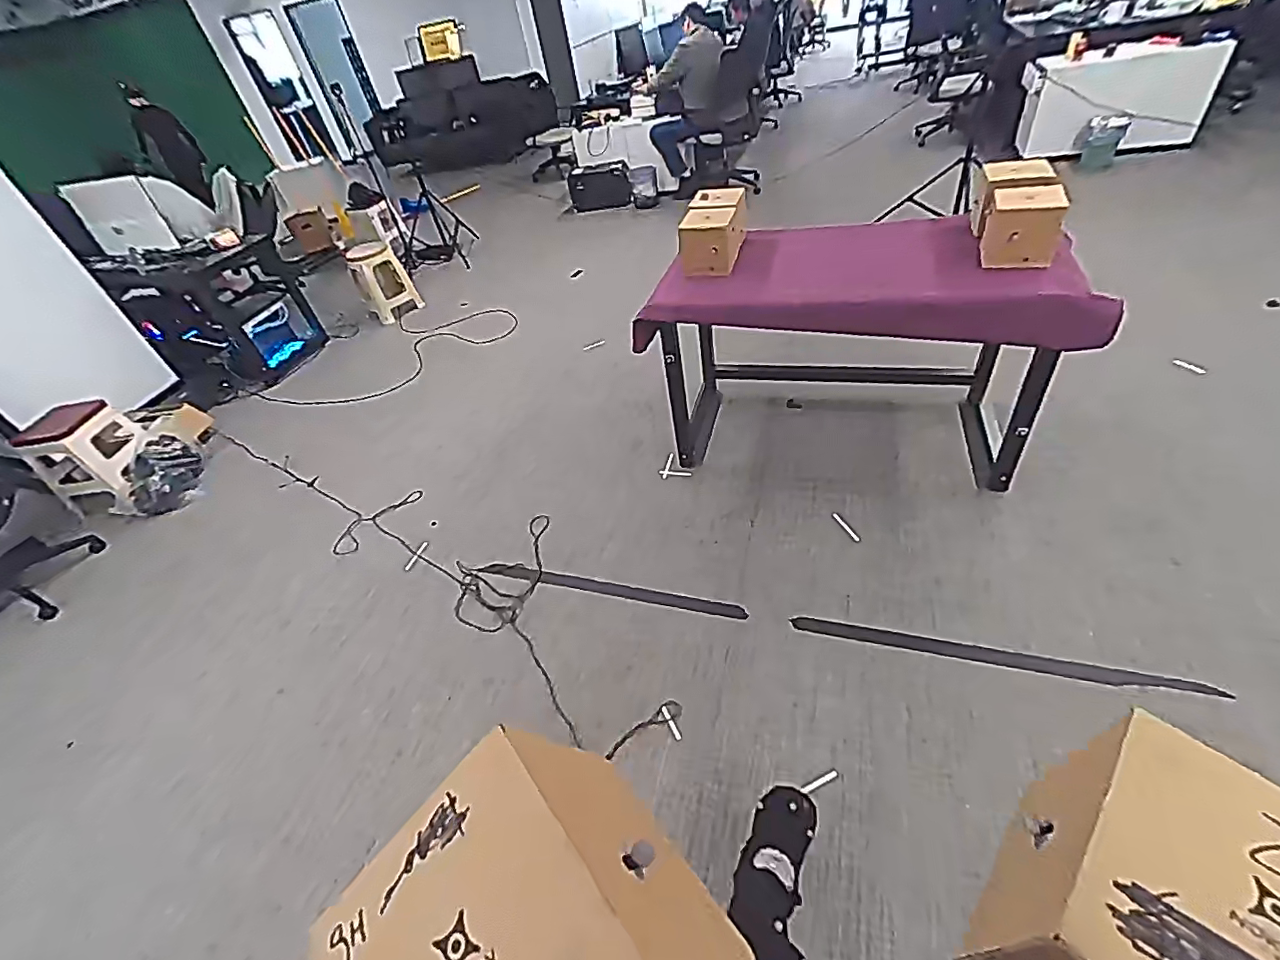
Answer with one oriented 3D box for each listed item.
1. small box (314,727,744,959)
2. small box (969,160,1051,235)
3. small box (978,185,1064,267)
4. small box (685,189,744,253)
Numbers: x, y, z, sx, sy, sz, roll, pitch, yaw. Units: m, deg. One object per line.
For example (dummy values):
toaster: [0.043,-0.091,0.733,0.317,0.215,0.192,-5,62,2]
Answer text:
small box: [-0.058,0.295,0.346,0.168,0.176,0.179,-46,51,-10]
small box: [1.153,-0.885,1.703,0.179,0.176,0.168,6,47,19]
small box: [1.089,-0.727,1.558,0.168,0.176,0.179,8,45,23]
small box: [0.278,-0.950,1.987,0.179,0.176,0.168,8,48,19]
